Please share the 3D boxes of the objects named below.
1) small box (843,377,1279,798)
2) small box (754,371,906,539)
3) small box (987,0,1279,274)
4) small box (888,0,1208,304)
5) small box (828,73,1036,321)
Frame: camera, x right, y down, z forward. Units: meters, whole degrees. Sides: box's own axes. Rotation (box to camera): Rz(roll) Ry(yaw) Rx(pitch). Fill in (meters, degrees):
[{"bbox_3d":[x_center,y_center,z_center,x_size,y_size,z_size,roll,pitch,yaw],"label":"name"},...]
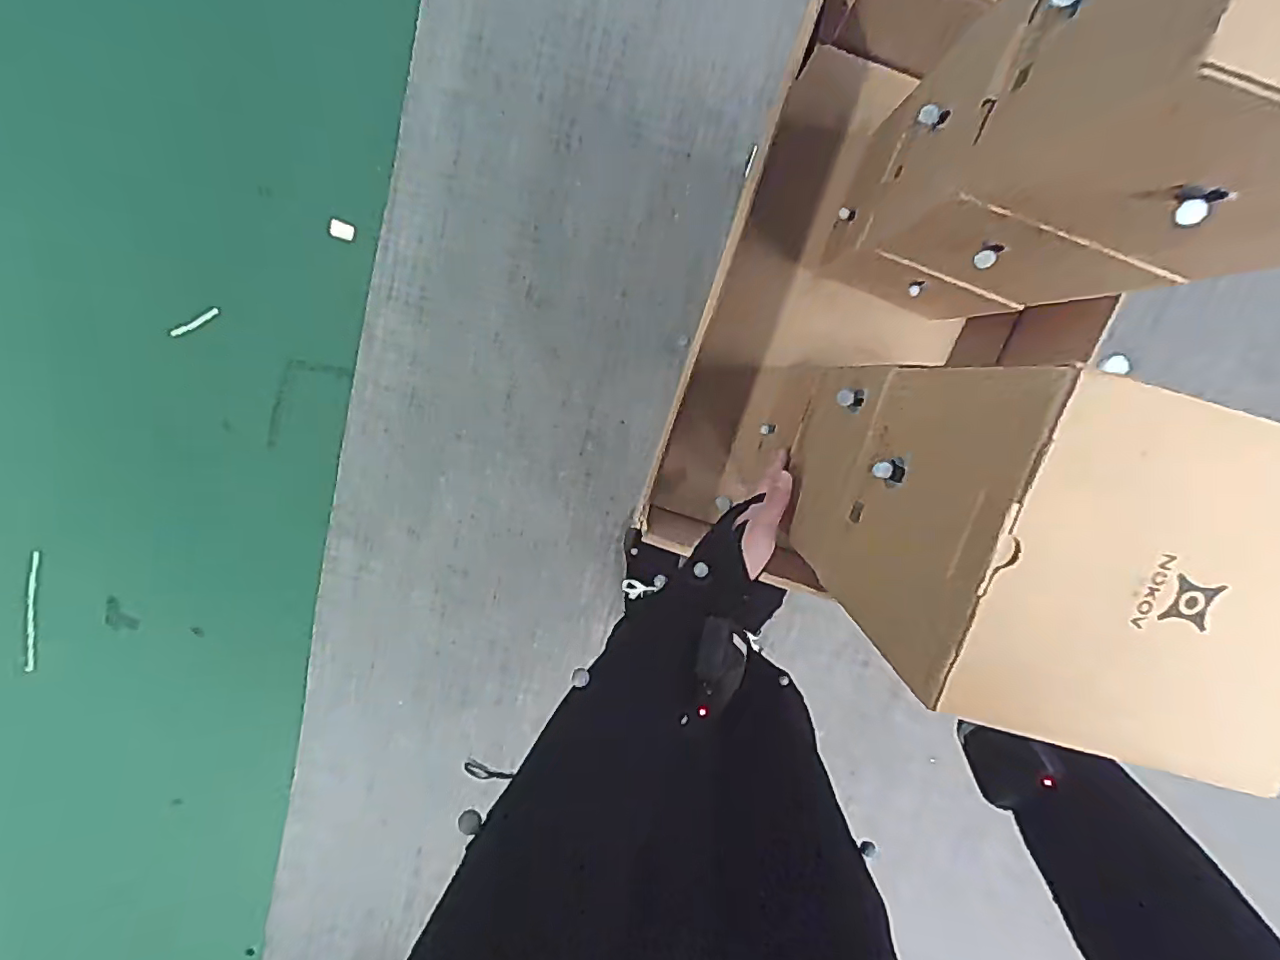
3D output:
[{"bbox_3d":[0.251,0.038,0.318,0.179,0.176,0.168,15,101,-1],"label":"small box"},{"bbox_3d":[0.255,-0.026,0.638,0.179,0.176,0.168,17,100,-2],"label":"small box"},{"bbox_3d":[0.328,-0.215,0.265,0.179,0.176,0.168,20,103,-2],"label":"small box"},{"bbox_3d":[0.332,-0.250,0.427,0.179,0.176,0.168,21,103,-2],"label":"small box"},{"bbox_3d":[0.334,-0.282,0.587,0.179,0.176,0.168,21,102,-4],"label":"small box"}]
